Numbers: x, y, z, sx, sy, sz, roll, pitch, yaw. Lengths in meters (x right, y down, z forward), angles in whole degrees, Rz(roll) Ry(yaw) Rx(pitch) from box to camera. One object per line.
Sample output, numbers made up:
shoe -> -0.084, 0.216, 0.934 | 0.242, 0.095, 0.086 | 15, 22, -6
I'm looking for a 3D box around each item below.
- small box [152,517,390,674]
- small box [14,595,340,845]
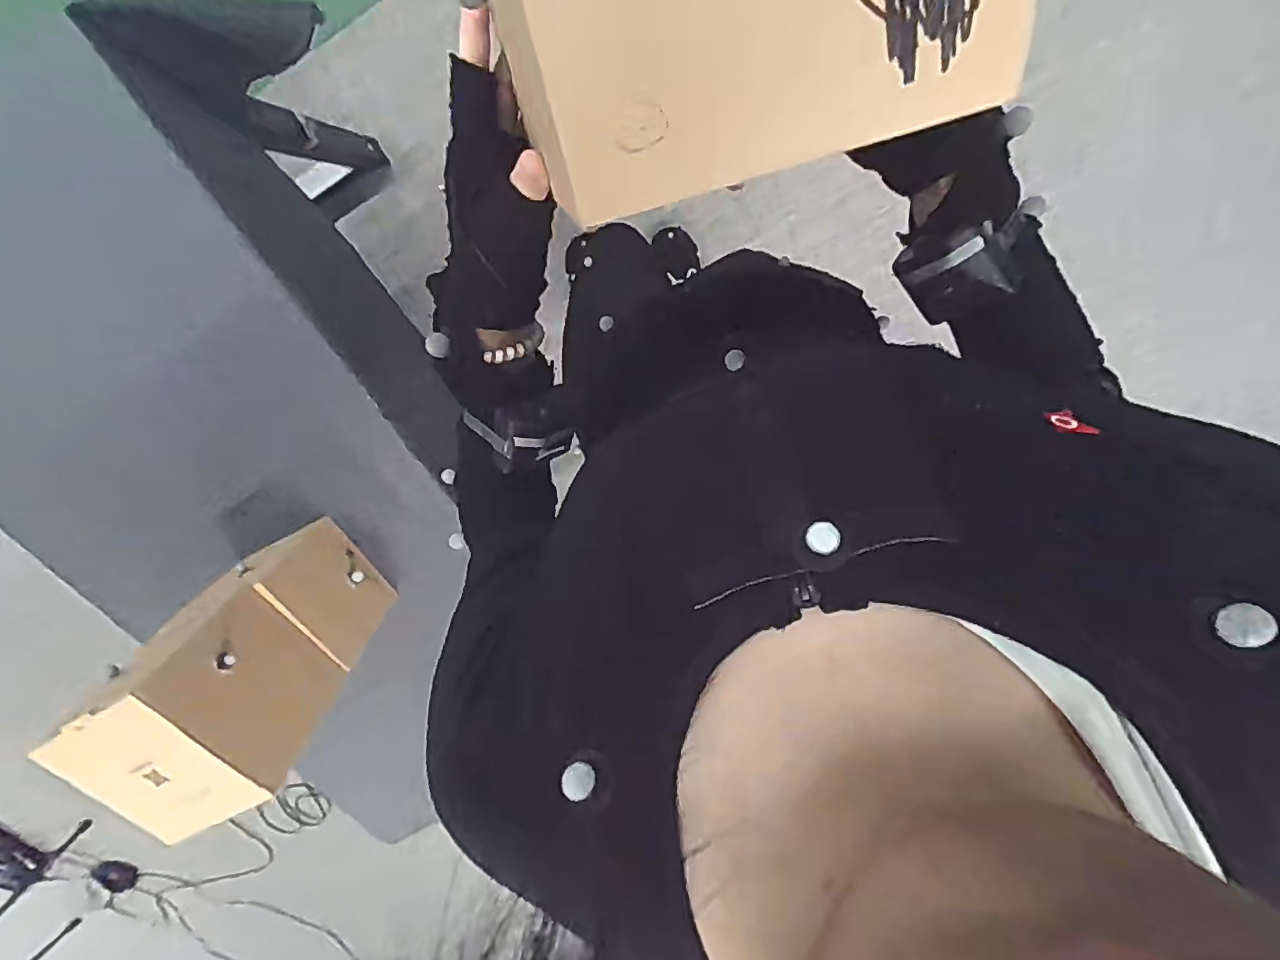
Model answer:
small box -> -0.491, 0.181, 0.752 | 0.179, 0.176, 0.168 | -26, 113, 10
small box -> -0.491, 0.254, 0.606 | 0.168, 0.176, 0.179 | -27, 112, 12
